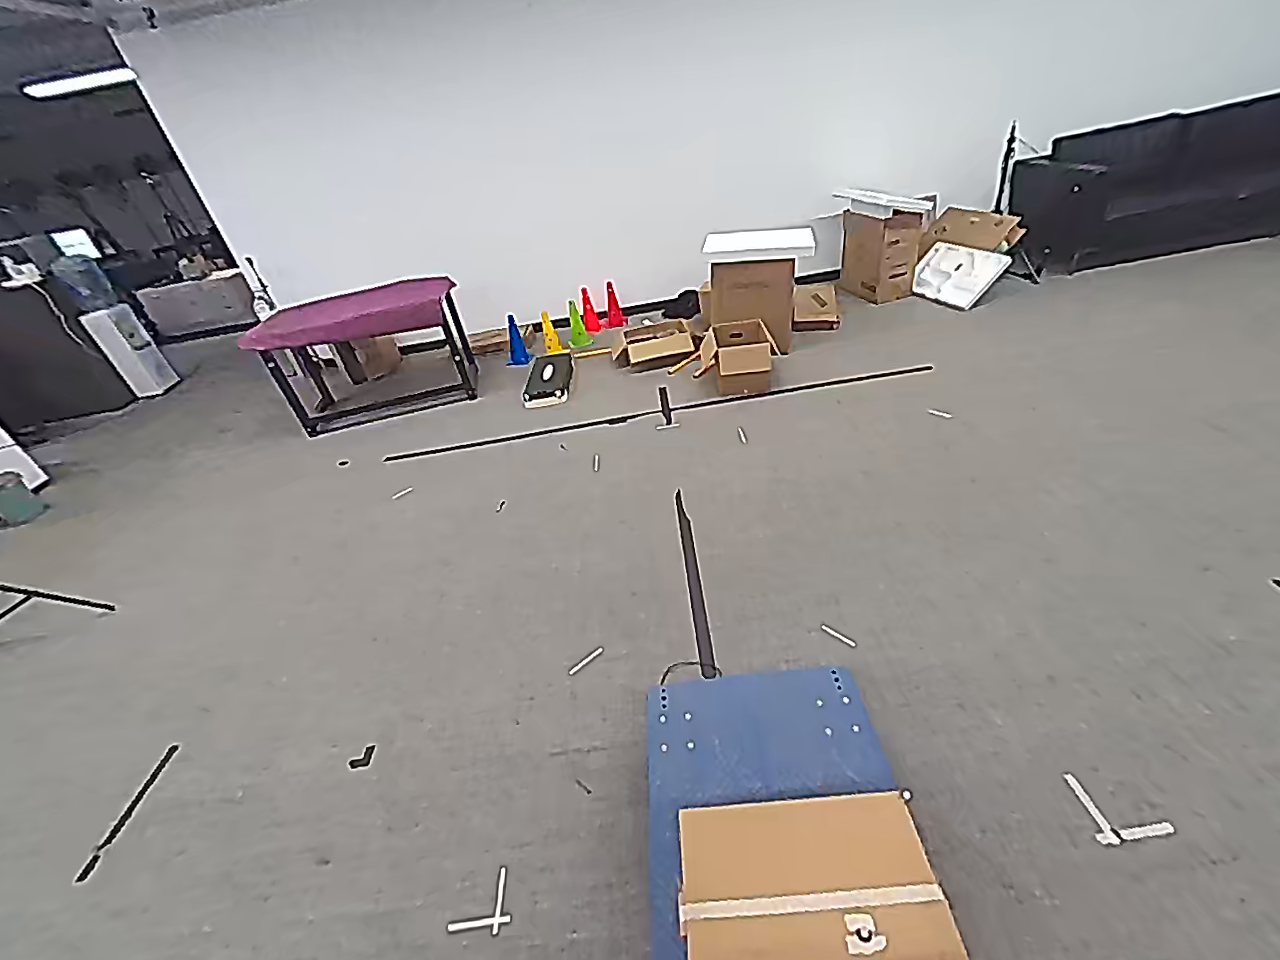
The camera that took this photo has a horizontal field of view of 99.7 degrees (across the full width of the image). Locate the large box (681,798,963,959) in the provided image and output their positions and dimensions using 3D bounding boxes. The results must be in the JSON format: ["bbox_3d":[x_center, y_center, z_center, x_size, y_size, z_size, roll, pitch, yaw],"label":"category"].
[{"bbox_3d":[0.293,0.805,0.942,0.408,0.320,0.320,-7,35,4],"label":"large box"}]
